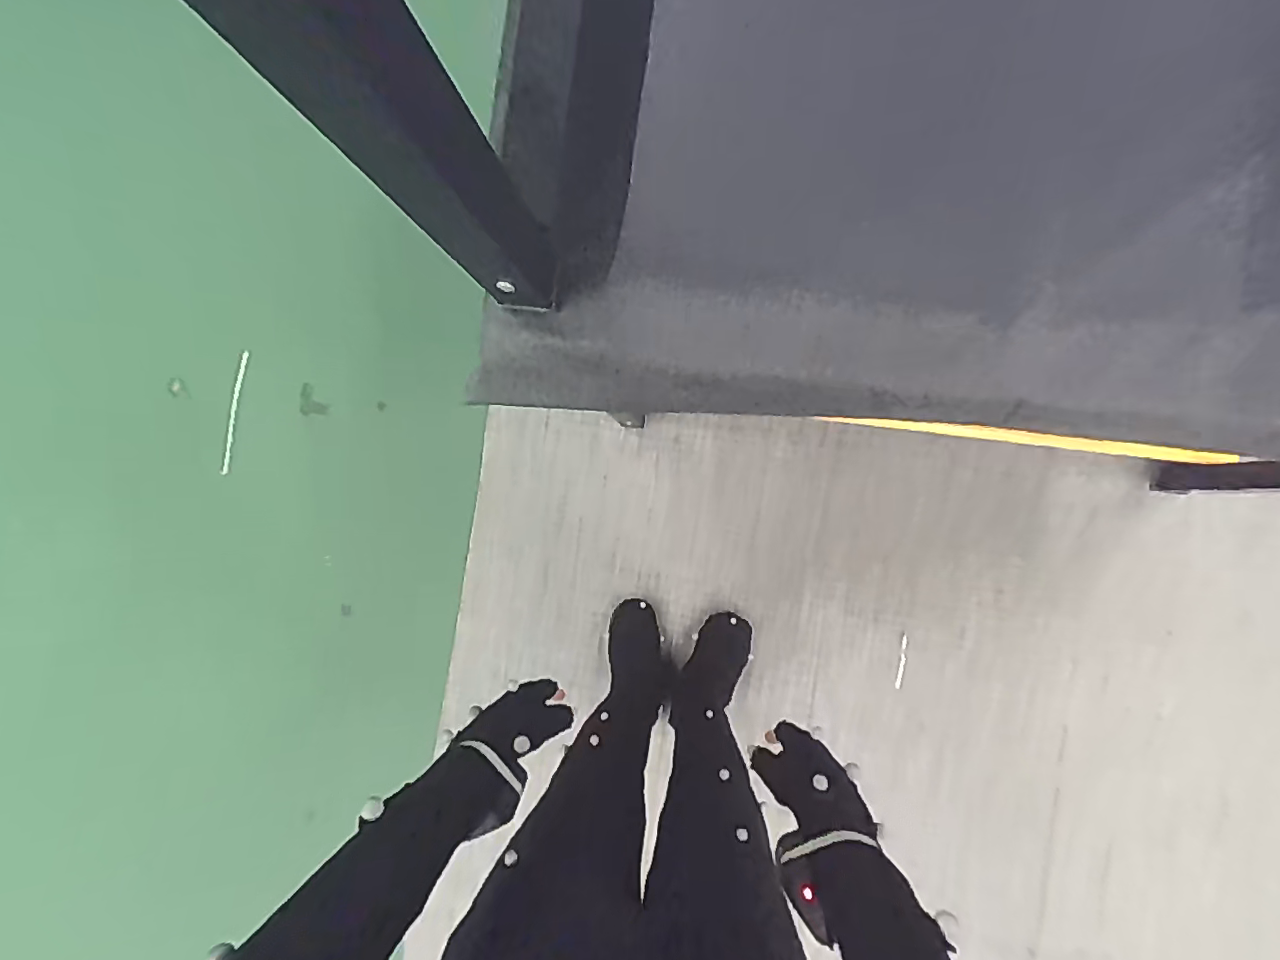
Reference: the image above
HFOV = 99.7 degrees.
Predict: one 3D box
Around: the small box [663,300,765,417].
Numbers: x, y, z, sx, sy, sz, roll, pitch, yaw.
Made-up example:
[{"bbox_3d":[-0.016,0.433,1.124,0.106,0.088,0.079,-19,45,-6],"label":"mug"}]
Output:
[{"bbox_3d":[0.138,-0.225,1.037,0.168,0.176,0.179,6,90,6],"label":"small box"}]
